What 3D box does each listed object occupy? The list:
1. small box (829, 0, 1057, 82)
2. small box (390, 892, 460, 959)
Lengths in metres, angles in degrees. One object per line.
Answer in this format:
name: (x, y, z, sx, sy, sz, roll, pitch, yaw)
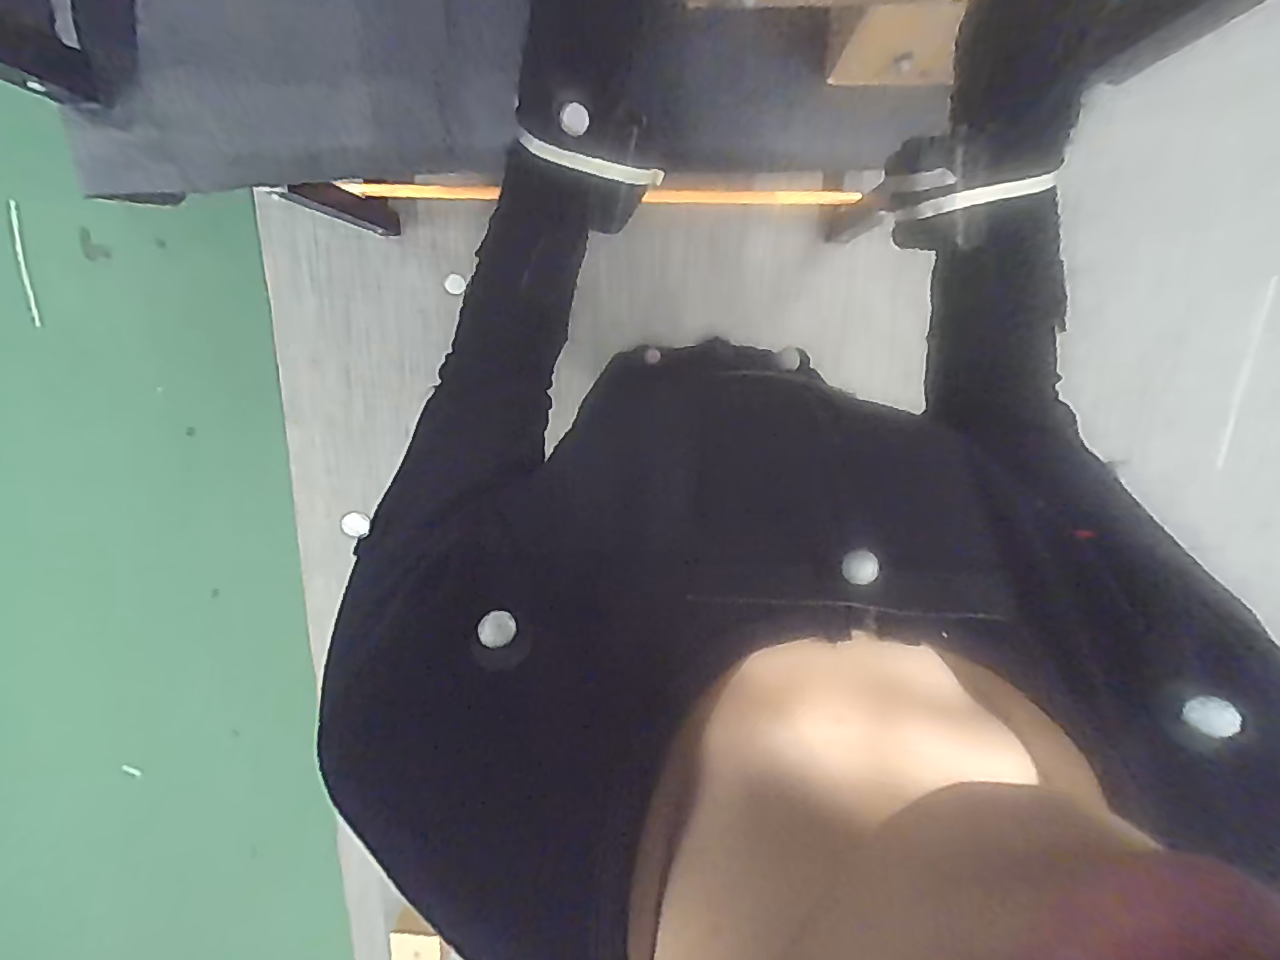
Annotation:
small box: (0.289, -0.519, 0.512, 0.168, 0.176, 0.179, 2, 104, 3)
small box: (-0.720, 1.537, 1.823, 0.168, 0.176, 0.179, 4, 104, 3)
